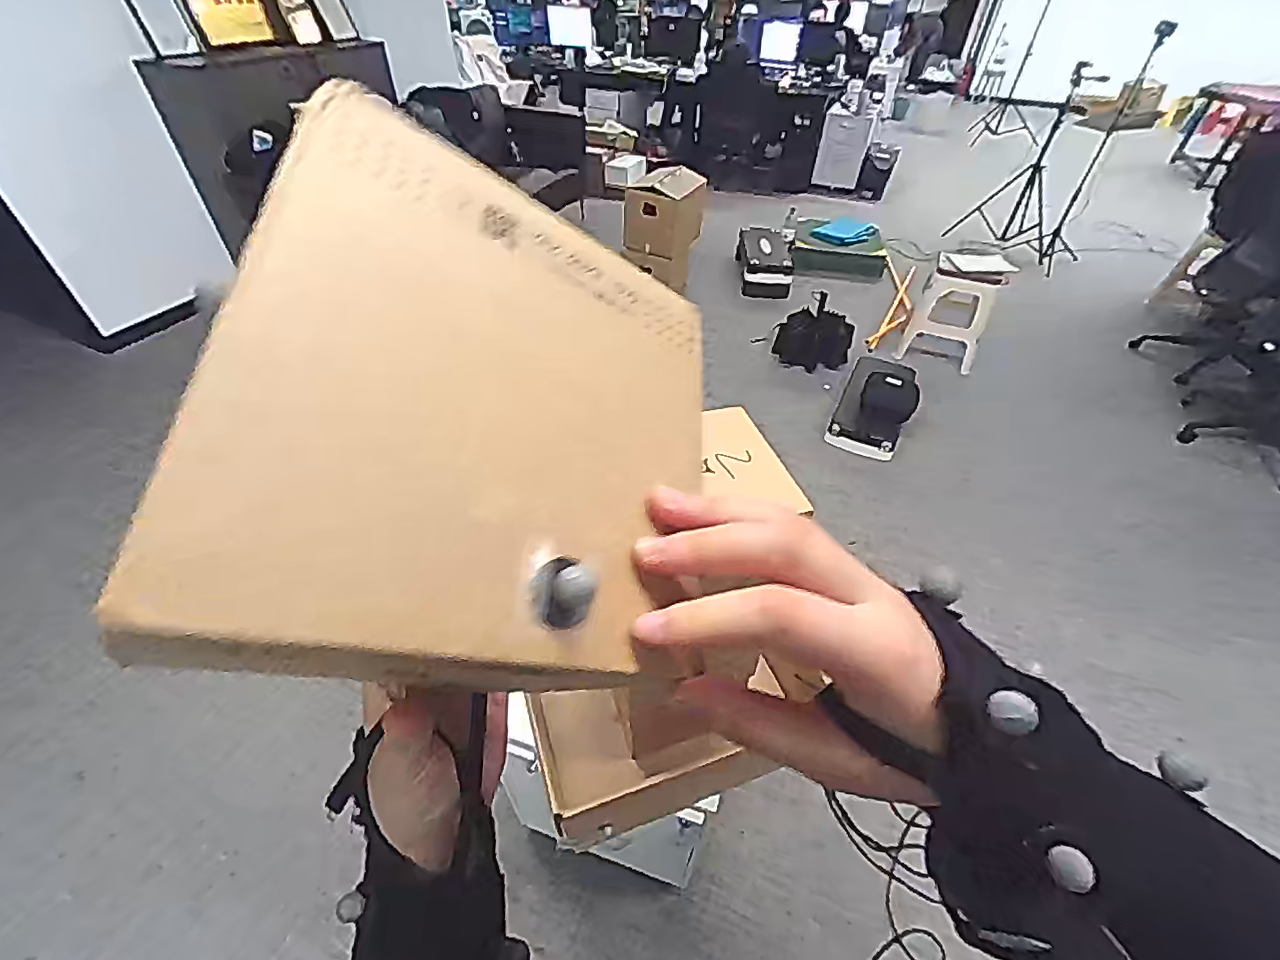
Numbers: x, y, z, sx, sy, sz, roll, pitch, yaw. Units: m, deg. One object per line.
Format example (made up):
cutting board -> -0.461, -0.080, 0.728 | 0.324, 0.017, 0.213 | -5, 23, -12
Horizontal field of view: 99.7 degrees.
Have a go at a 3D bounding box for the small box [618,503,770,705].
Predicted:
small box -> 0.043, 0.160, 0.701 | 0.179, 0.176, 0.168 | -13, 44, -12

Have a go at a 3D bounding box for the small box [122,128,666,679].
small box -> -0.098, -0.004, 0.255 | 0.168, 0.179, 0.176 | 19, 62, -34
